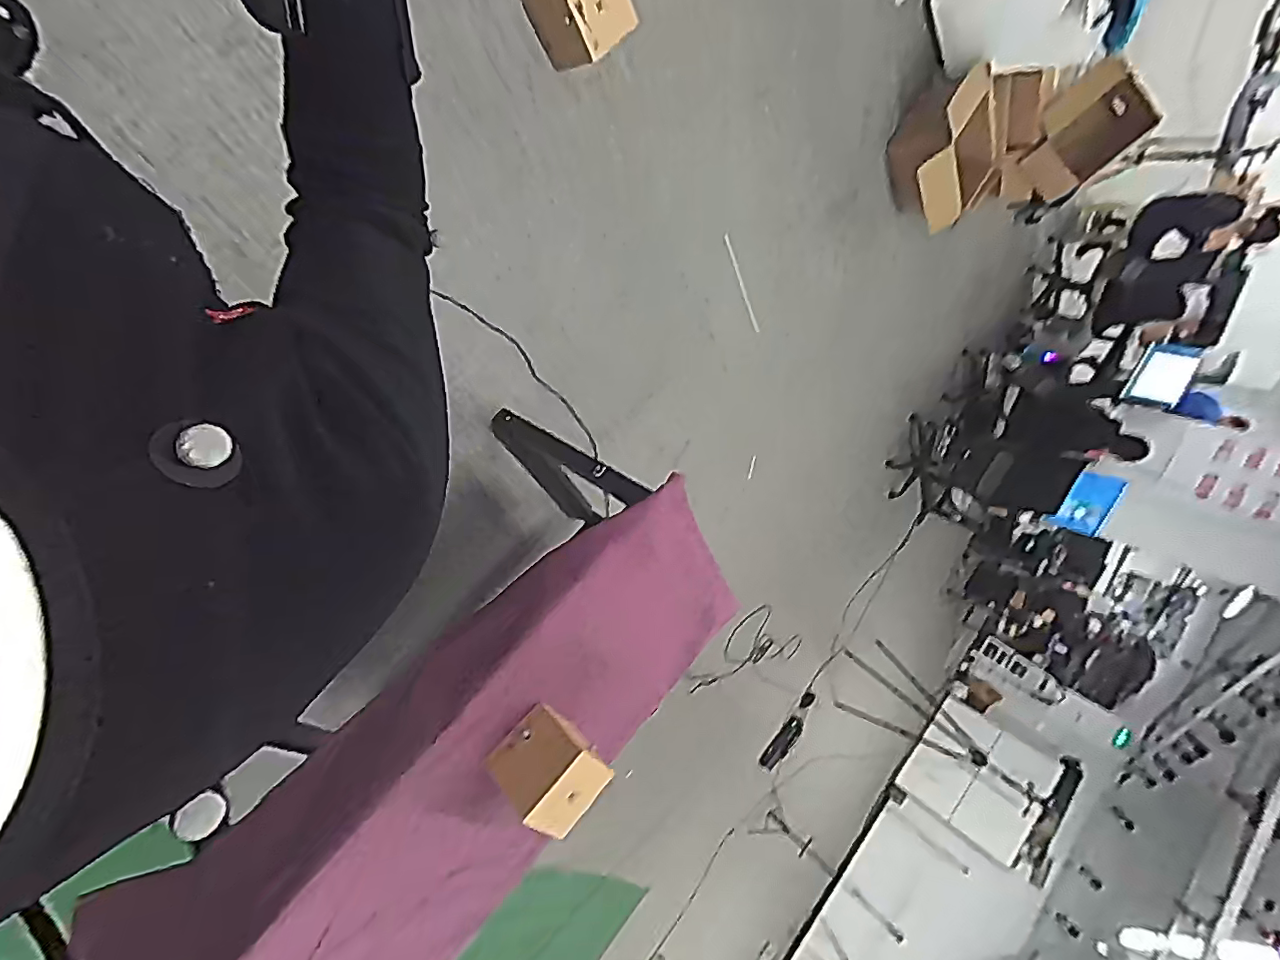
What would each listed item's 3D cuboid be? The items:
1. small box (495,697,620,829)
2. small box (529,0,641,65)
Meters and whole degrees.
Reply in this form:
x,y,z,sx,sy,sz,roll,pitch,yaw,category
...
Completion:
x,y,z,sx,sy,sz,roll,pitch,yaw,category
-0.177,0.606,1.169,0.168,0.176,0.179,-45,136,-18,small box
-0.136,-1.159,1.319,0.179,0.176,0.168,-50,137,-12,small box
